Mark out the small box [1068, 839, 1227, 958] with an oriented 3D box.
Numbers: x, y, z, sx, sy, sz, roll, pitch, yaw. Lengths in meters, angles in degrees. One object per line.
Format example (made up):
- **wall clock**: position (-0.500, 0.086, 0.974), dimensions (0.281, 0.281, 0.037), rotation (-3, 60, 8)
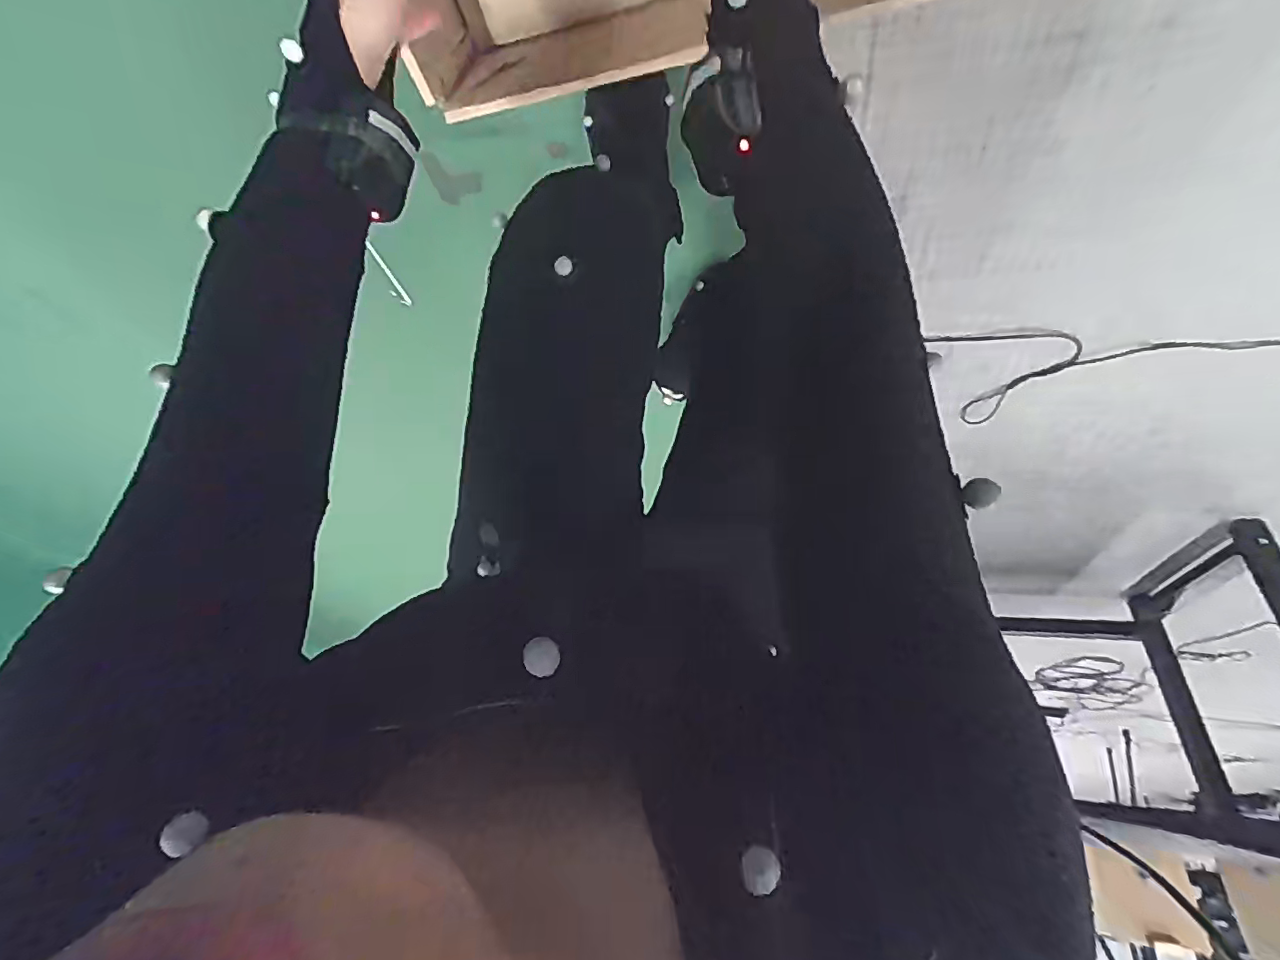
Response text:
- **small box**: position (1.049, 0.870, 1.142), dimensions (0.168, 0.176, 0.179), rotation (0, 148, 11)
